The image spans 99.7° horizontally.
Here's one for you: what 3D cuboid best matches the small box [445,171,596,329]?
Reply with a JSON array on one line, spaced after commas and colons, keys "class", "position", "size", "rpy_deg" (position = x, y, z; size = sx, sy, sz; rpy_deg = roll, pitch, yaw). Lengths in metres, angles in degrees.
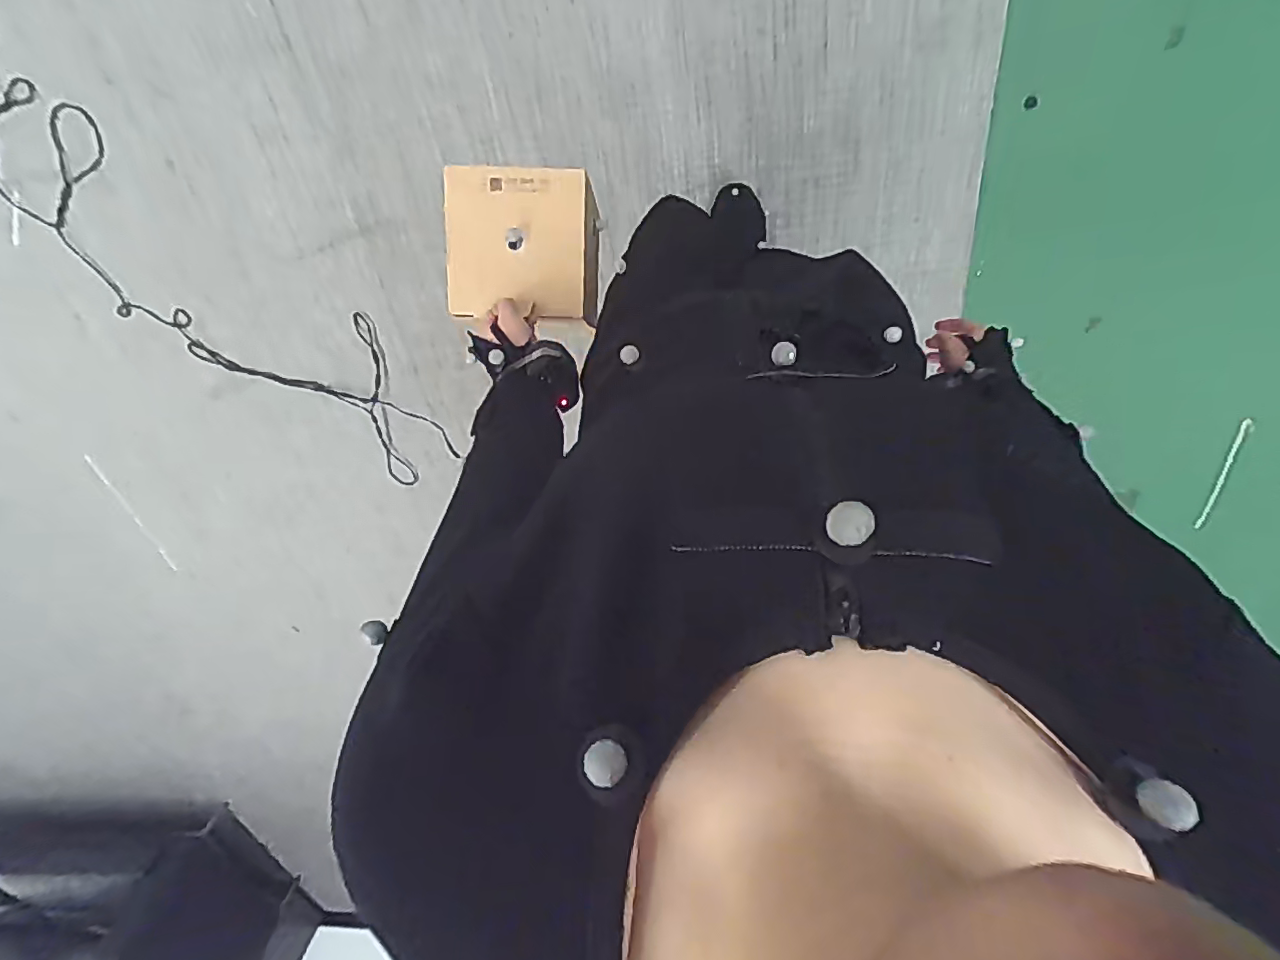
[{"class": "small box", "position": [-0.148, -0.294, 0.717], "size": [0.168, 0.179, 0.176], "rpy_deg": [1, 102, 0]}]
